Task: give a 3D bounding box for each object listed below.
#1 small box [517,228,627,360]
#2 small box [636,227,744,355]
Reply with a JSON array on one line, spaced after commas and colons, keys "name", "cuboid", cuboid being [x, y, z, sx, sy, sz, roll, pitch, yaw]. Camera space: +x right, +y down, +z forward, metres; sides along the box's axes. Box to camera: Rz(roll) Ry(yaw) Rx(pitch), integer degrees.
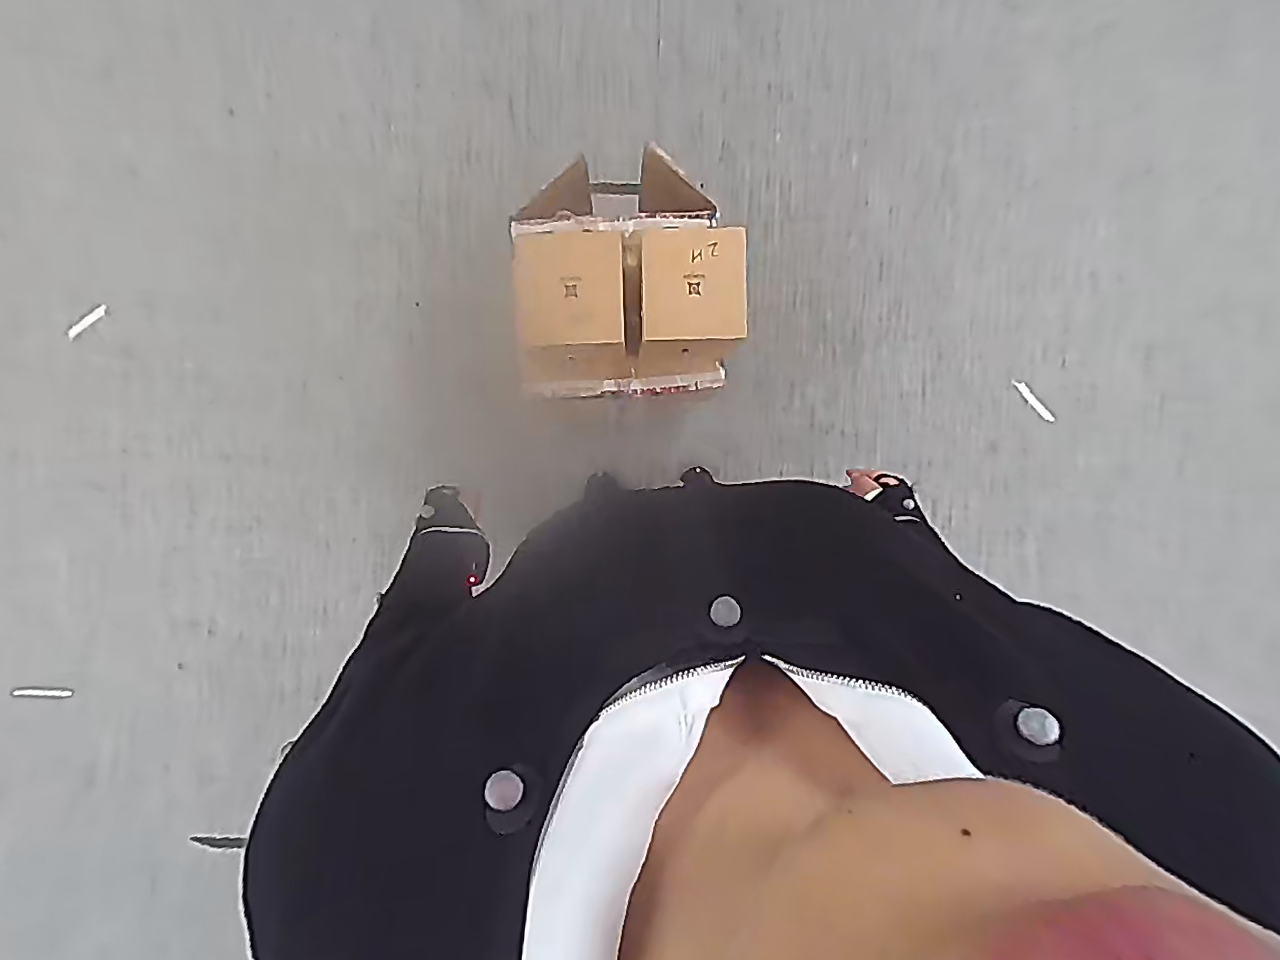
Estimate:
[{"name": "small box", "cuboid": [-0.109, -0.308, 0.923, 0.168, 0.176, 0.179, -3, 95, 0]}, {"name": "small box", "cuboid": [0.079, -0.313, 0.927, 0.168, 0.176, 0.179, -2, 93, -3]}]
